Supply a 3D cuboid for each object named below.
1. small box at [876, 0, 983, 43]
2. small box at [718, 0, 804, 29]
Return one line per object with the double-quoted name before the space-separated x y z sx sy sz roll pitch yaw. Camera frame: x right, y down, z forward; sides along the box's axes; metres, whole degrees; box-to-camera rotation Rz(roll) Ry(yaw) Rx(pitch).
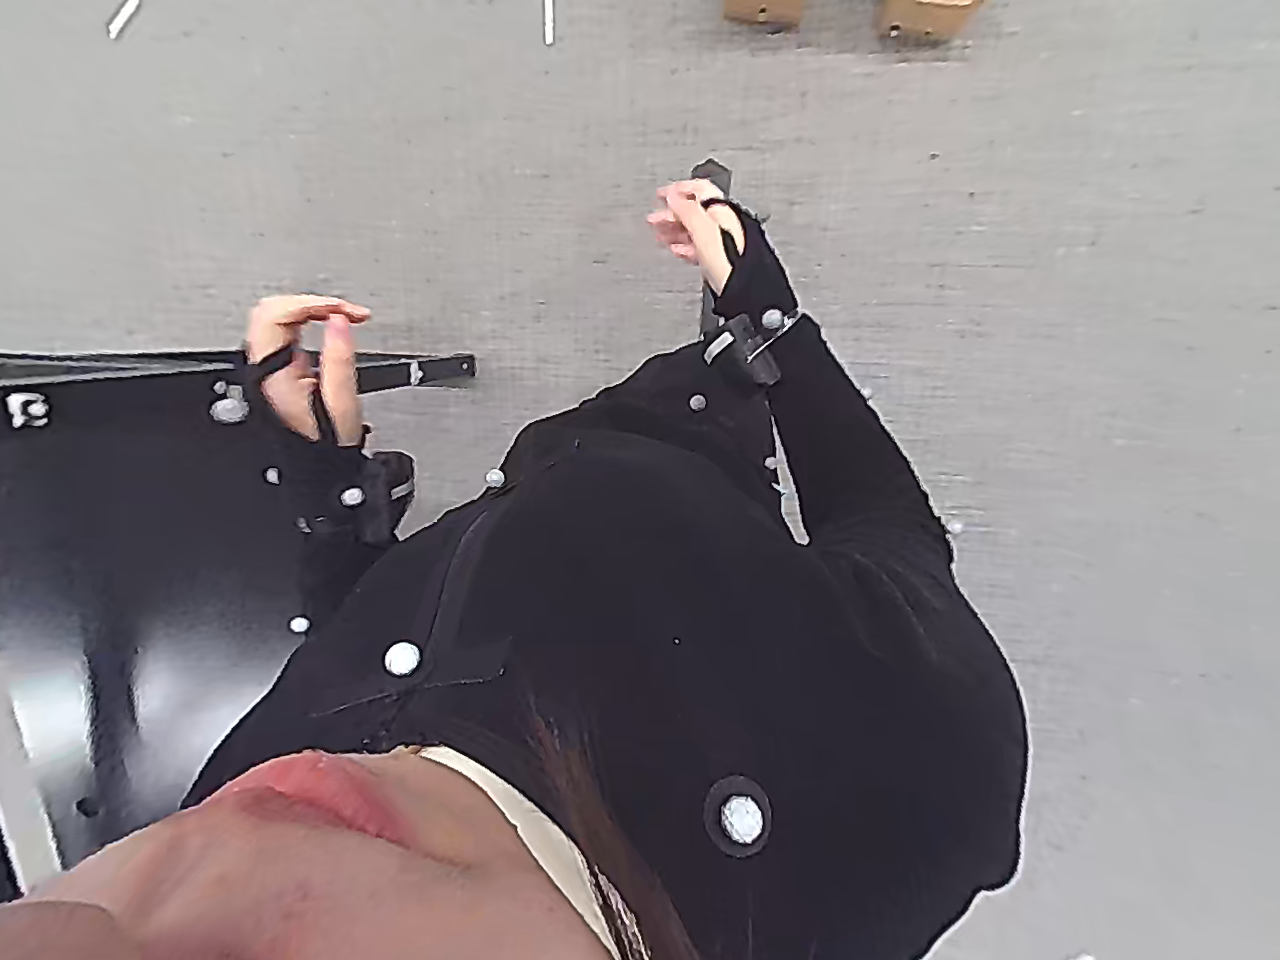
"small box" 0.590 -1.014 1.075 0.168 0.176 0.179 9 105 4
"small box" 0.261 -1.061 1.098 0.179 0.176 0.168 9 105 3
